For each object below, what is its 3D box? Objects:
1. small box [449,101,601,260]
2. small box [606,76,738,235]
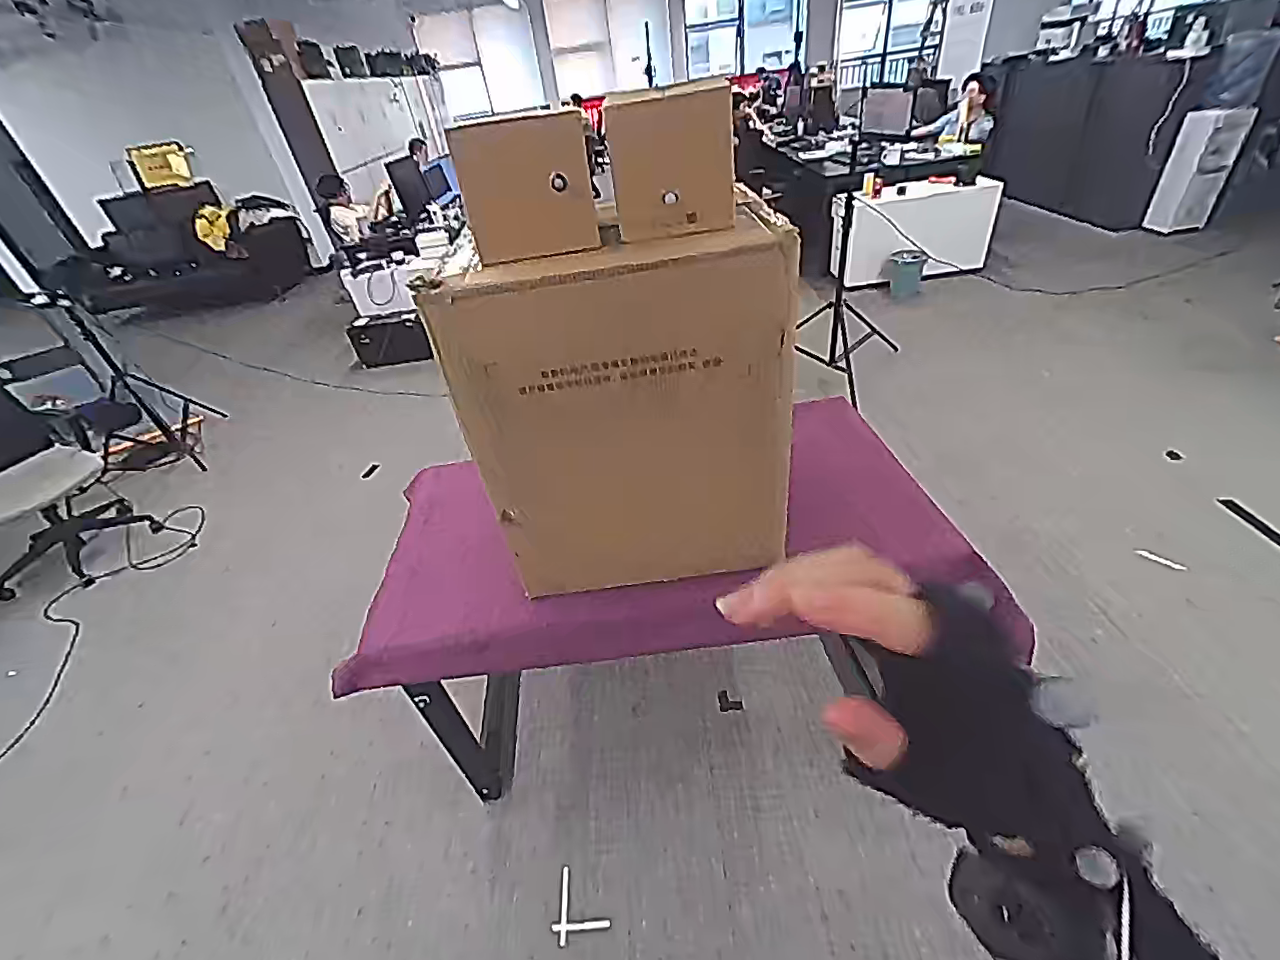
[{"bbox_3d":[-0.155,-0.433,0.782,0.179,0.176,0.168,-11,36,-3],"label":"small box"},{"bbox_3d":[0.051,-0.470,0.786,0.168,0.176,0.179,-6,38,6],"label":"small box"}]
